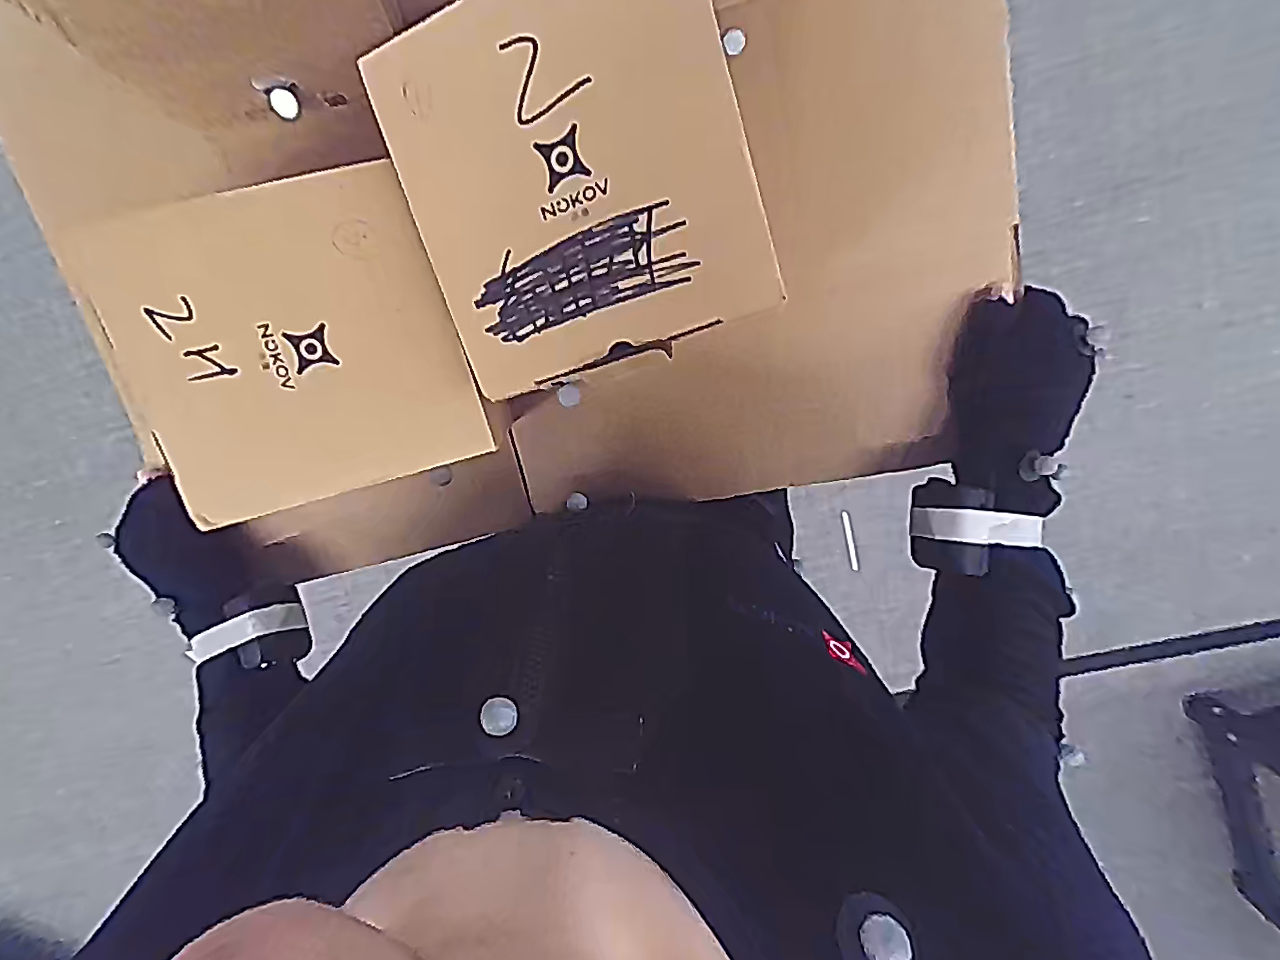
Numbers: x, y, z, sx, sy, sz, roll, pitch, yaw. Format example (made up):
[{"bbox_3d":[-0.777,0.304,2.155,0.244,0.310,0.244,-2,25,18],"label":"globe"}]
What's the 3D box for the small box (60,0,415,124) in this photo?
[{"bbox_3d":[-0.253,-0.348,0.314,0.168,0.176,0.179,-15,104,-7],"label":"small box"}]
